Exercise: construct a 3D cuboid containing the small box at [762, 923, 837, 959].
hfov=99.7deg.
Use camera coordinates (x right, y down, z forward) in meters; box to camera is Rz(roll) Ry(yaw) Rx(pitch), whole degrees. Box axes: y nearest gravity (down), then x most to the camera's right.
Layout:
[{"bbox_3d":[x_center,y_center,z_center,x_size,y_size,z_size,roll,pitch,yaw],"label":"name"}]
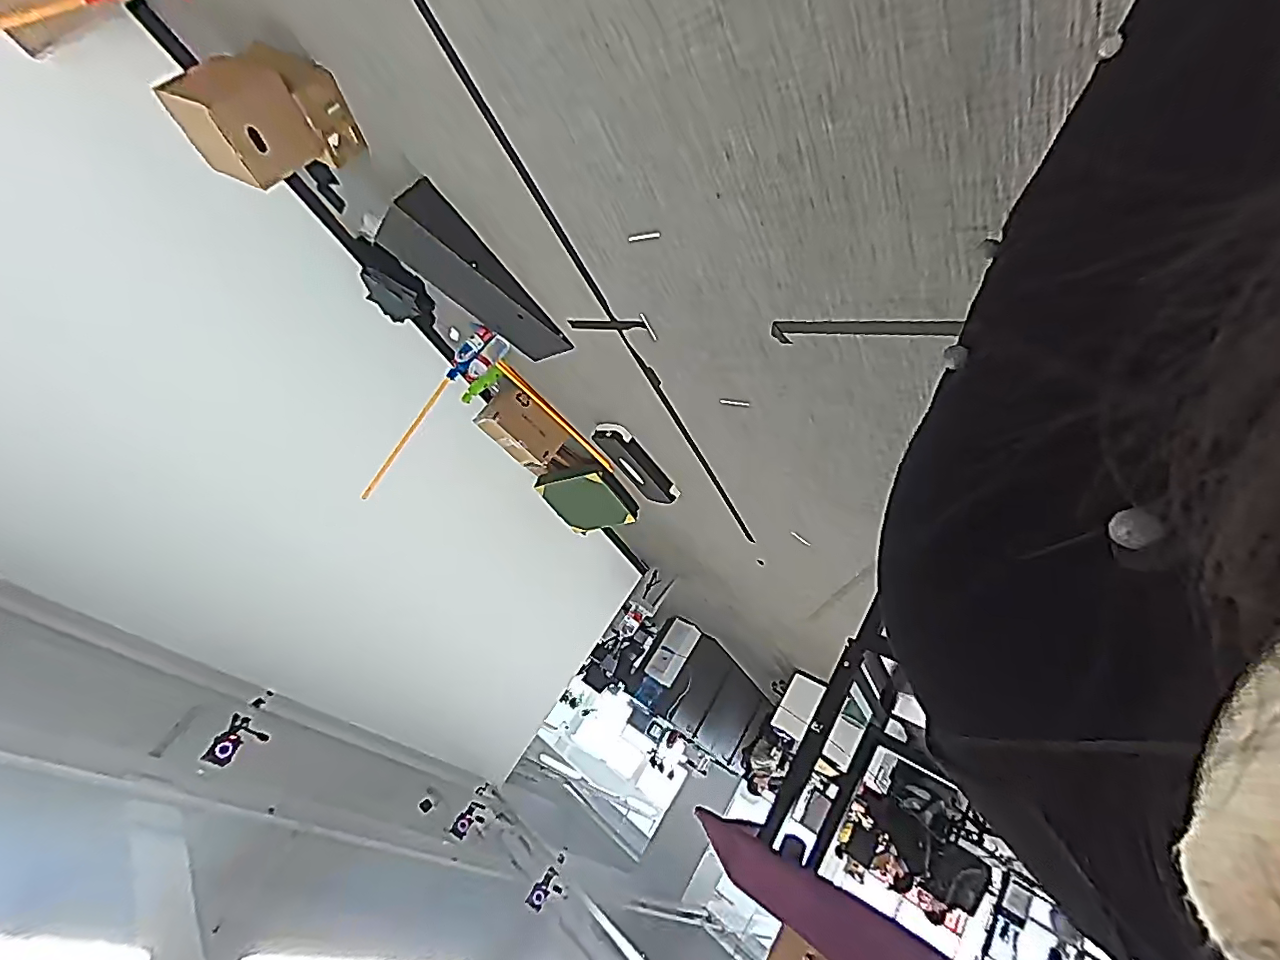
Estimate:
[{"bbox_3d":[0.418,1.287,1.395,0.179,0.176,0.168,18,154,41],"label":"small box"}]
